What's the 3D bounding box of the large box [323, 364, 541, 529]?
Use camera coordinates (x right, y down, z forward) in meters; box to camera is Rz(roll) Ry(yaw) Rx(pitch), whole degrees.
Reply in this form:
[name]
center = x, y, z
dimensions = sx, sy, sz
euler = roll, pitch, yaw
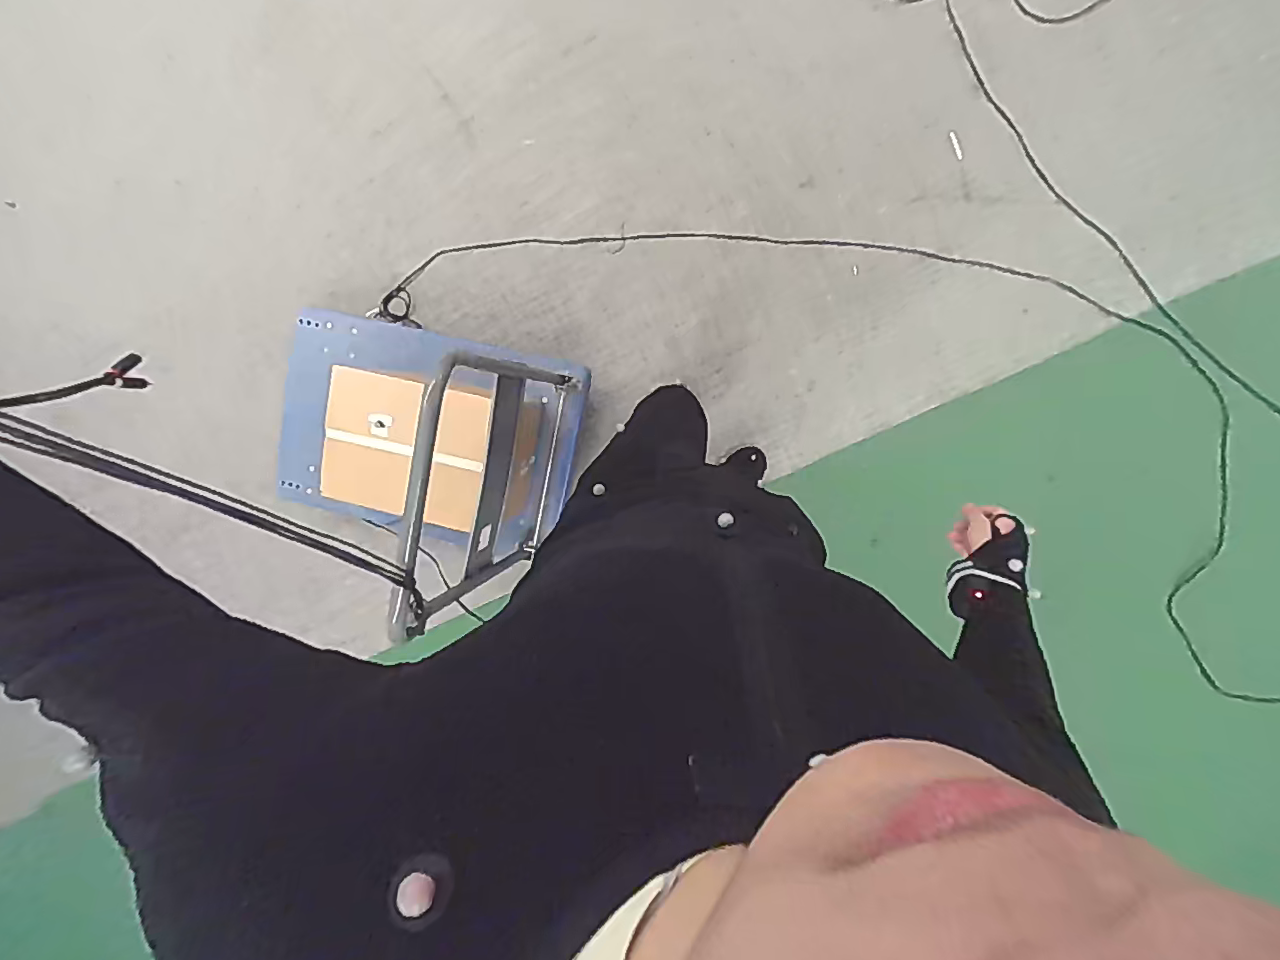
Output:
[large box]
center = -0.503, -0.097, 1.364
dimensions = 0.408, 0.320, 0.320
euler = 13, 99, 7
